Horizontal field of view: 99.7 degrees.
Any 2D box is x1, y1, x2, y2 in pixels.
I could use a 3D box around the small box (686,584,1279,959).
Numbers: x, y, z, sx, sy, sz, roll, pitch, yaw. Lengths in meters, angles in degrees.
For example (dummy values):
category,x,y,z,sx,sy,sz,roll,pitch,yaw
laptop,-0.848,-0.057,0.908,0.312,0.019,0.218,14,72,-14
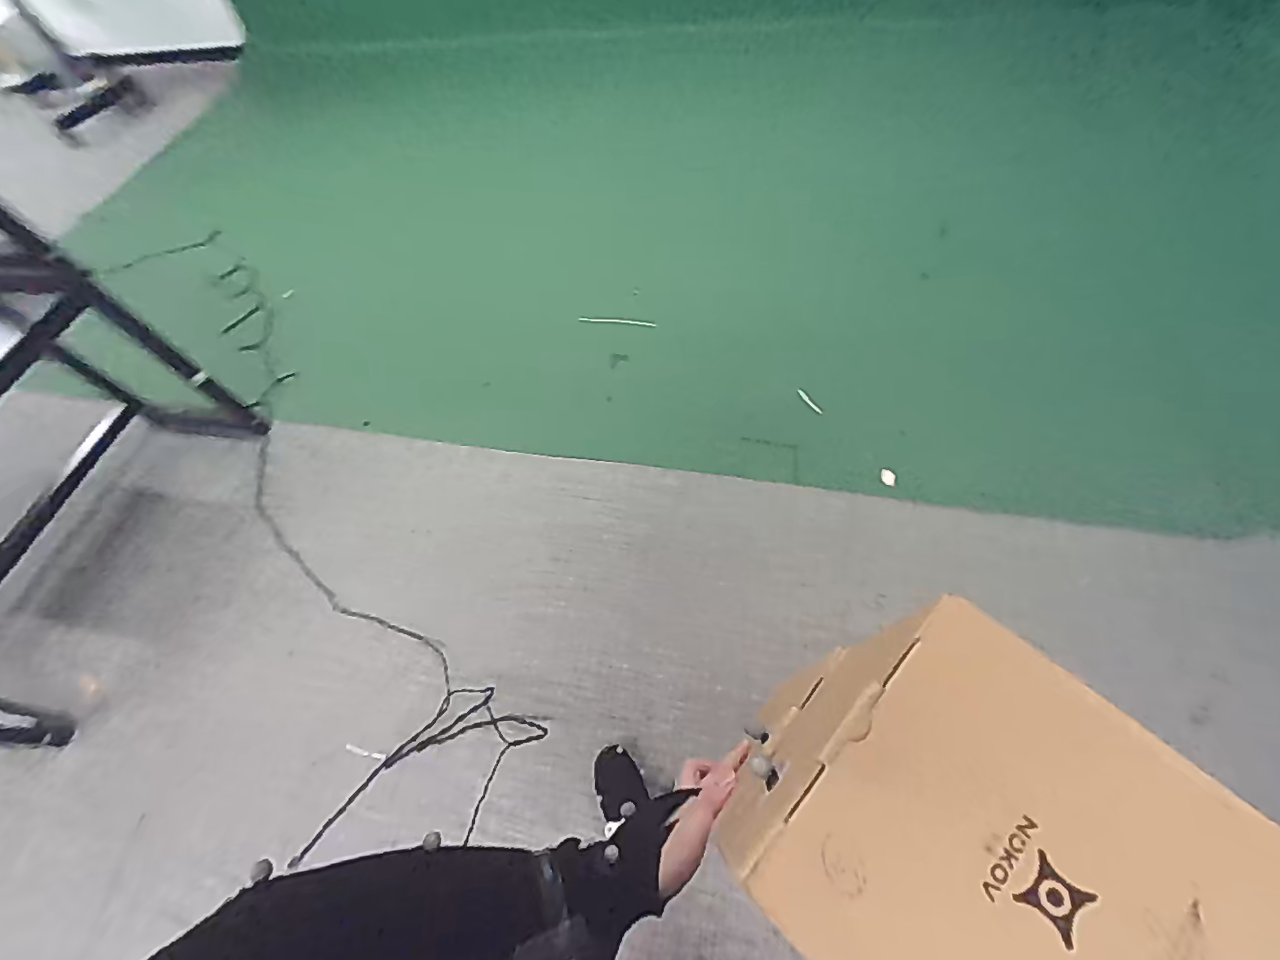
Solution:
category,x,y,z,sx,sy,sz,roll,pitch,yaw
small box,0.136,0.186,0.268,0.168,0.176,0.179,-42,70,-16
